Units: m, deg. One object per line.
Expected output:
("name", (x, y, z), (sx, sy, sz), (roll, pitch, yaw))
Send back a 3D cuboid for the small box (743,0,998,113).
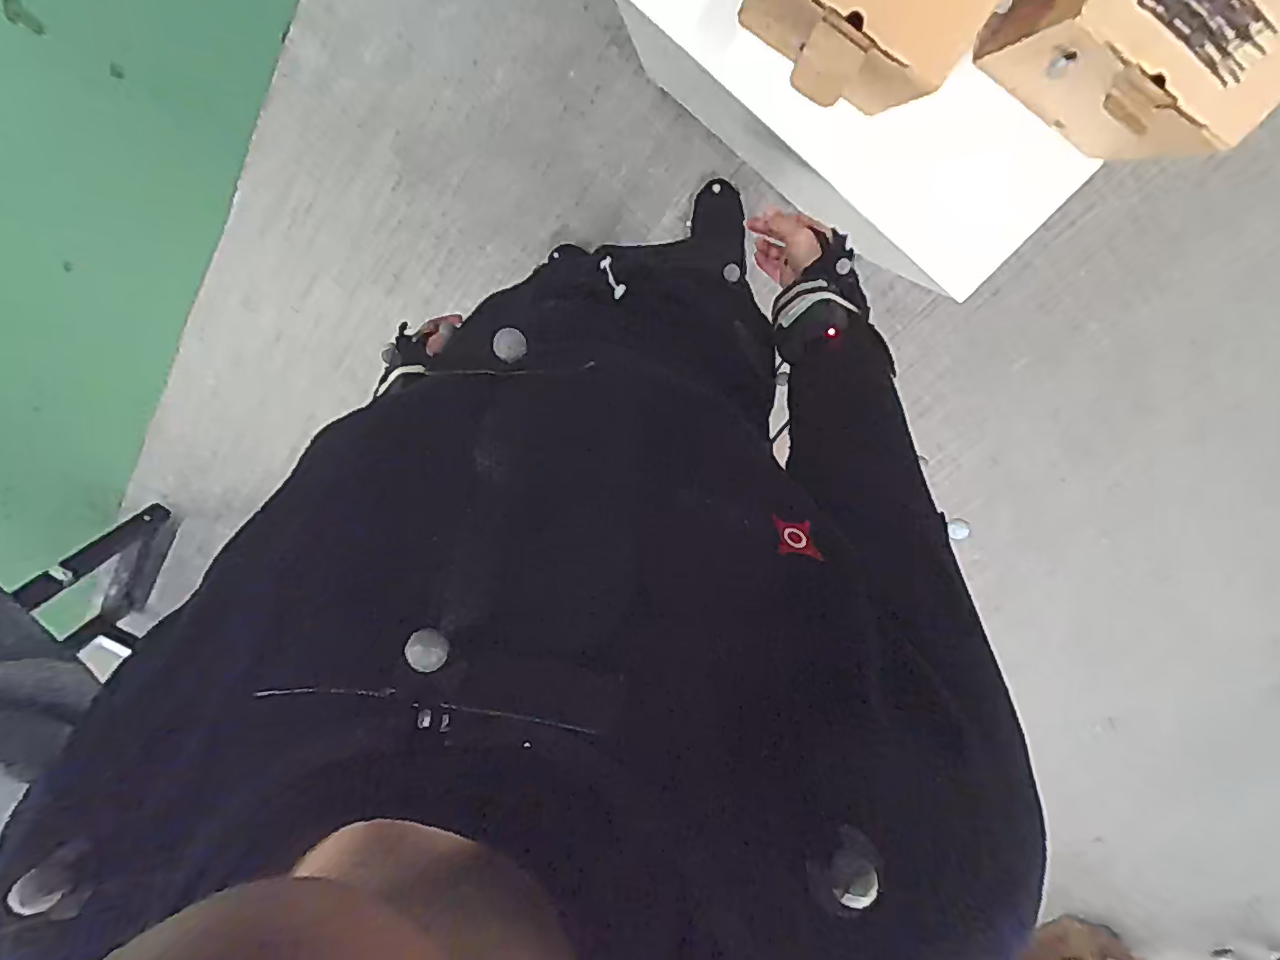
("small box", (0.197, -0.431, 0.428), (0.168, 0.176, 0.179), (27, 117, -11))
